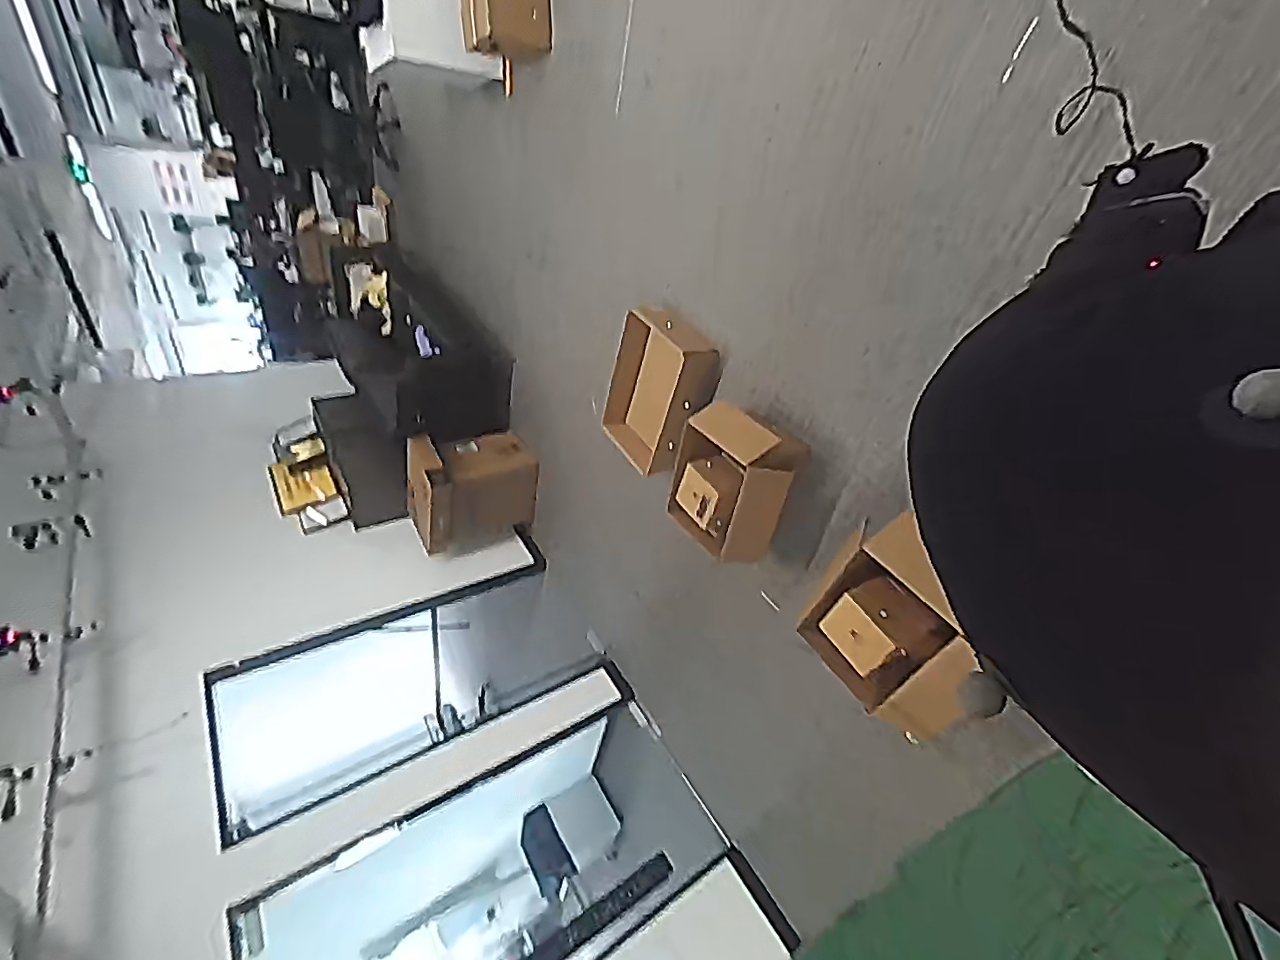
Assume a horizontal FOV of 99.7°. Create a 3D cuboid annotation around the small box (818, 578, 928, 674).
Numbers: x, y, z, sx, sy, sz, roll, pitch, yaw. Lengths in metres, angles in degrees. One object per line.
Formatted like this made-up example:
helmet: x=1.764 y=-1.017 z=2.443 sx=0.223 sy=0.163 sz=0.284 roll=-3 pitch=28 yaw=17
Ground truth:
small box: x=0.632 y=0.388 z=1.472 sx=0.179 sy=0.176 sz=0.168 roll=51 pitch=140 yaw=32
